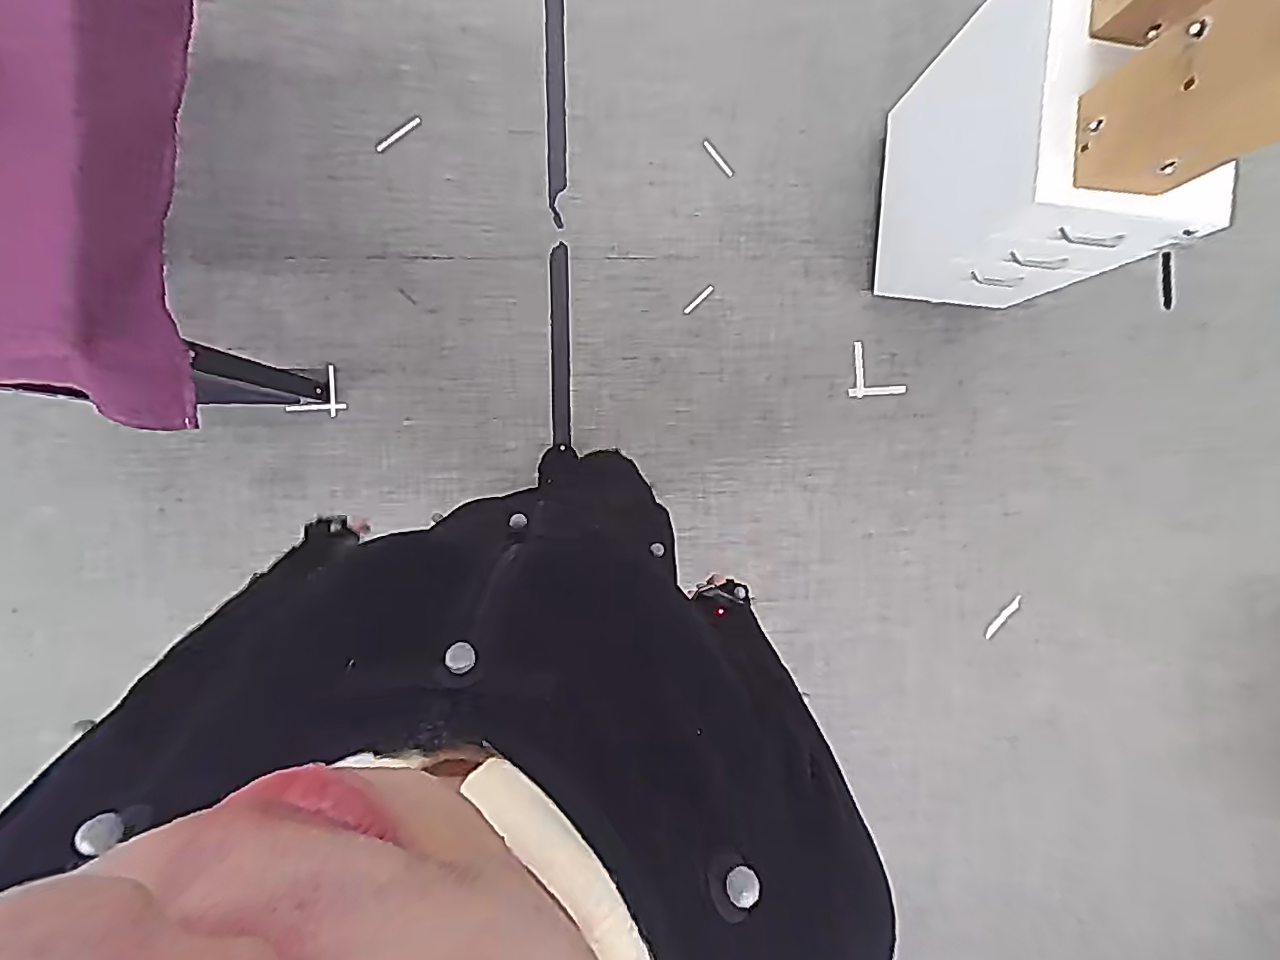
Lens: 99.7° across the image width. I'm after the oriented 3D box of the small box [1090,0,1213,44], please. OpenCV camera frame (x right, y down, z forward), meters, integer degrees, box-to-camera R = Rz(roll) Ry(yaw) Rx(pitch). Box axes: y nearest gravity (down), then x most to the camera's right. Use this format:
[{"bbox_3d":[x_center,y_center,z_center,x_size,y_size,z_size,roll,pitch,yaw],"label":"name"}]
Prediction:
[{"bbox_3d":[0.903,-0.870,0.889,0.179,0.176,0.168,5,92,-7],"label":"small box"}]
